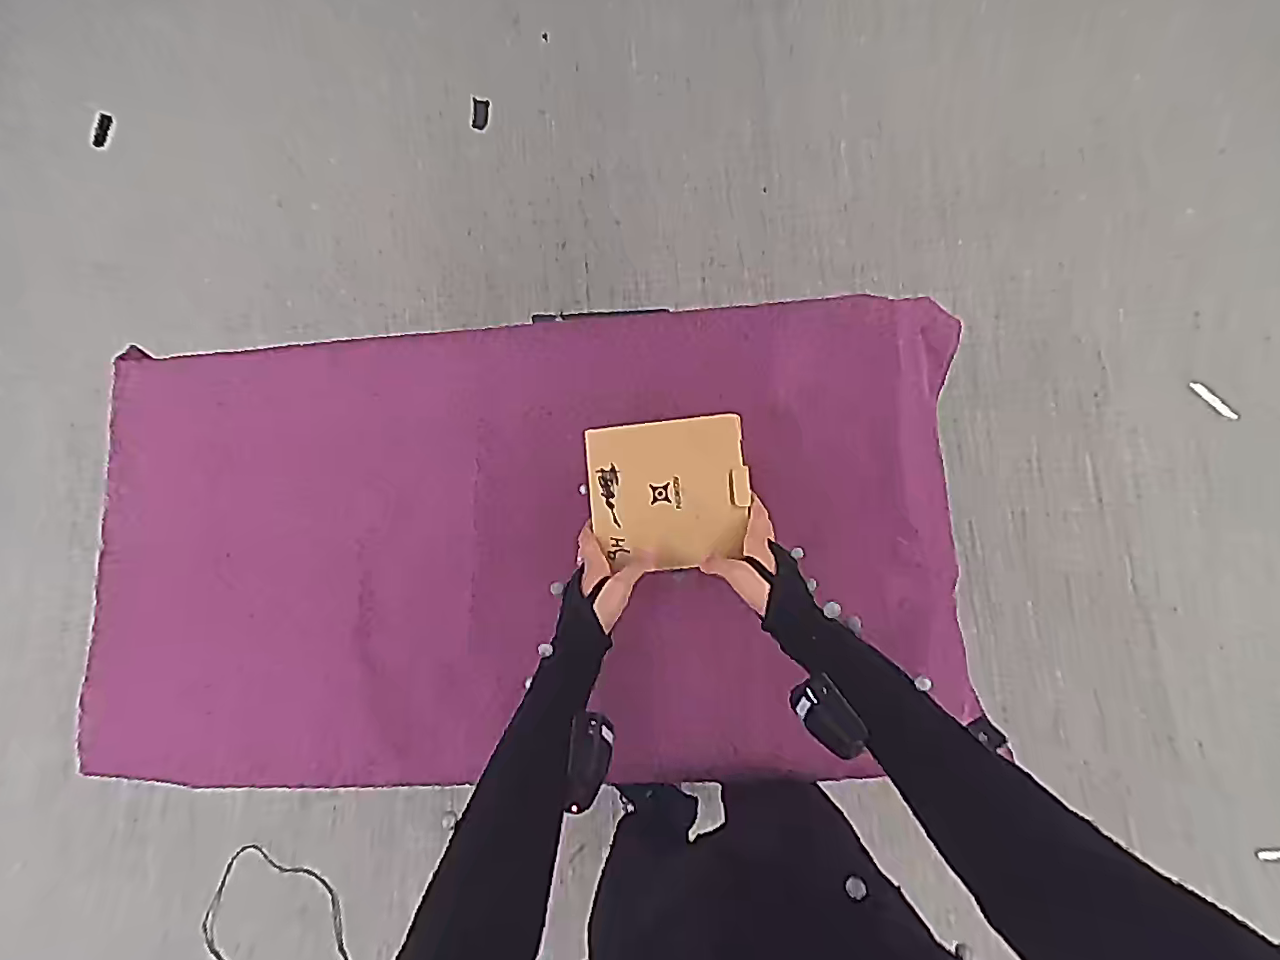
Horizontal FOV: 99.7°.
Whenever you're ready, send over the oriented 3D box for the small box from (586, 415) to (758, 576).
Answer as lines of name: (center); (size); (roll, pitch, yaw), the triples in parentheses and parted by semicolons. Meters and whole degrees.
small box: (0.037, 0.026, 0.662); (0.179, 0.176, 0.168); (-6, 81, 3)
